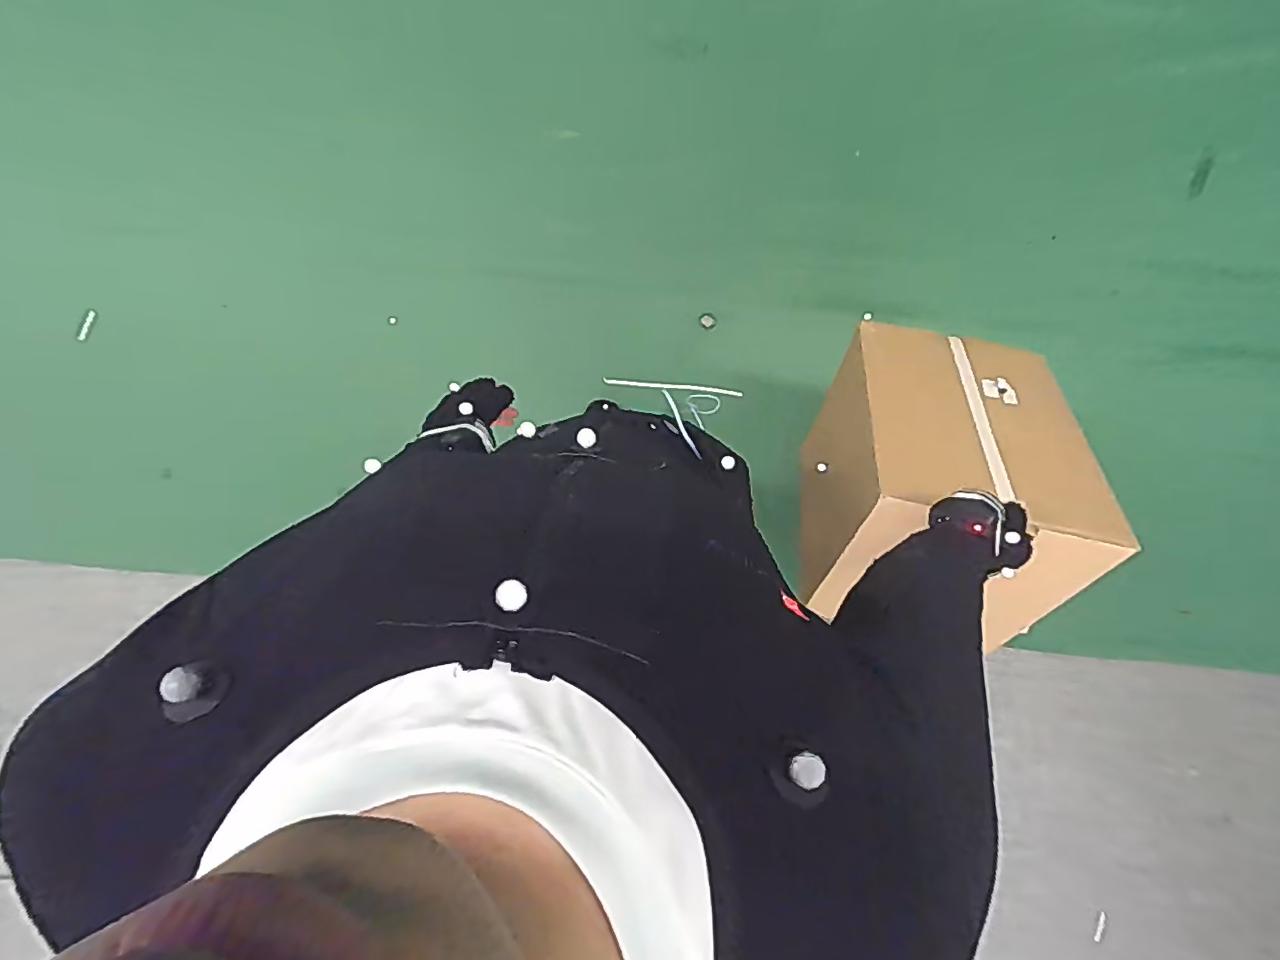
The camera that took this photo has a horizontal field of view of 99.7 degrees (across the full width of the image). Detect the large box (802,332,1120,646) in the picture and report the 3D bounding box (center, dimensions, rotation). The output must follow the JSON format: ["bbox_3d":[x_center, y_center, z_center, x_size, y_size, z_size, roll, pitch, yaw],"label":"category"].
[{"bbox_3d":[0.473,0.010,0.920,0.320,0.408,0.320,13,138,3],"label":"large box"}]
